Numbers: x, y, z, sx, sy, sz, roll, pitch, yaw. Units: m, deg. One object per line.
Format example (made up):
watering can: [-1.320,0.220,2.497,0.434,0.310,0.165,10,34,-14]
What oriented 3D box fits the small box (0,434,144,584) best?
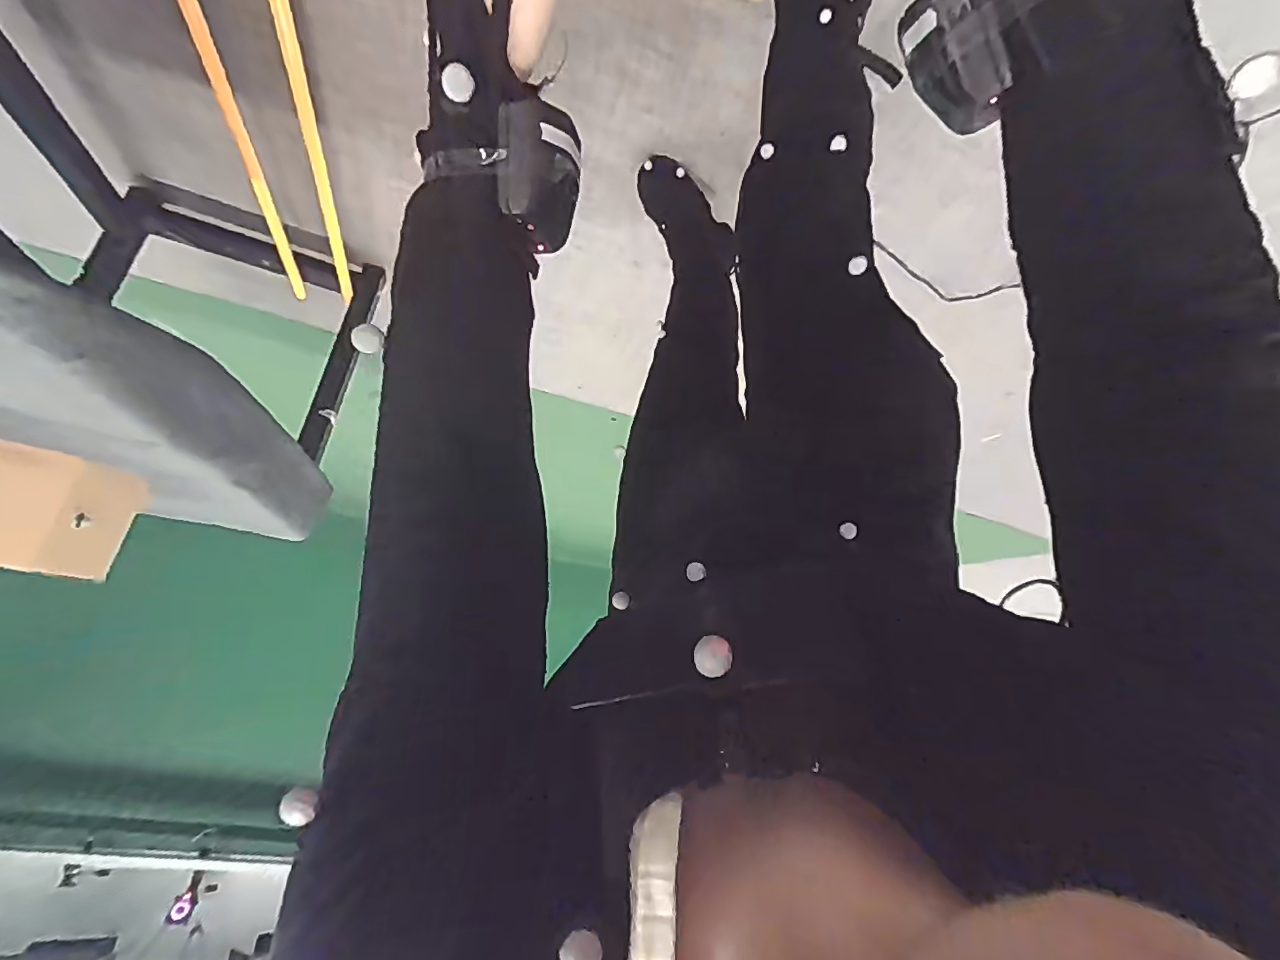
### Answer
small box: [-0.857,0.040,0.753,0.168,0.176,0.179,16,160,-16]
